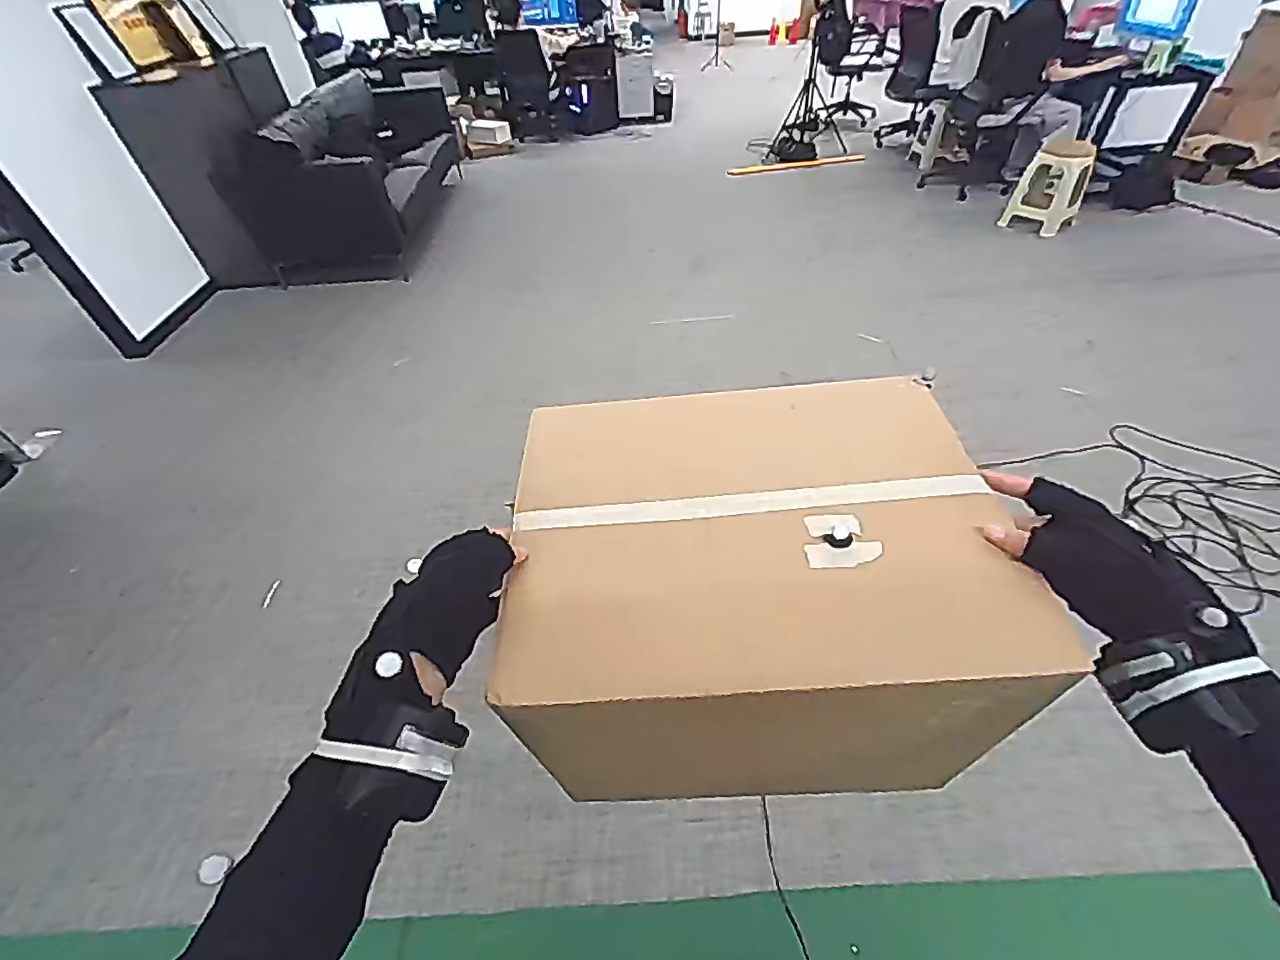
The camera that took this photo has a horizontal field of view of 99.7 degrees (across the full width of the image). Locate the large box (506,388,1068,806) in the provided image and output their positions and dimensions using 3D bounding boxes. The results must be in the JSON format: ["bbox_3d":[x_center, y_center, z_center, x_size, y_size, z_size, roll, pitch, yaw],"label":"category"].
[{"bbox_3d":[0.107,0.134,0.586,0.408,0.320,0.320,-5,48,3],"label":"large box"}]
